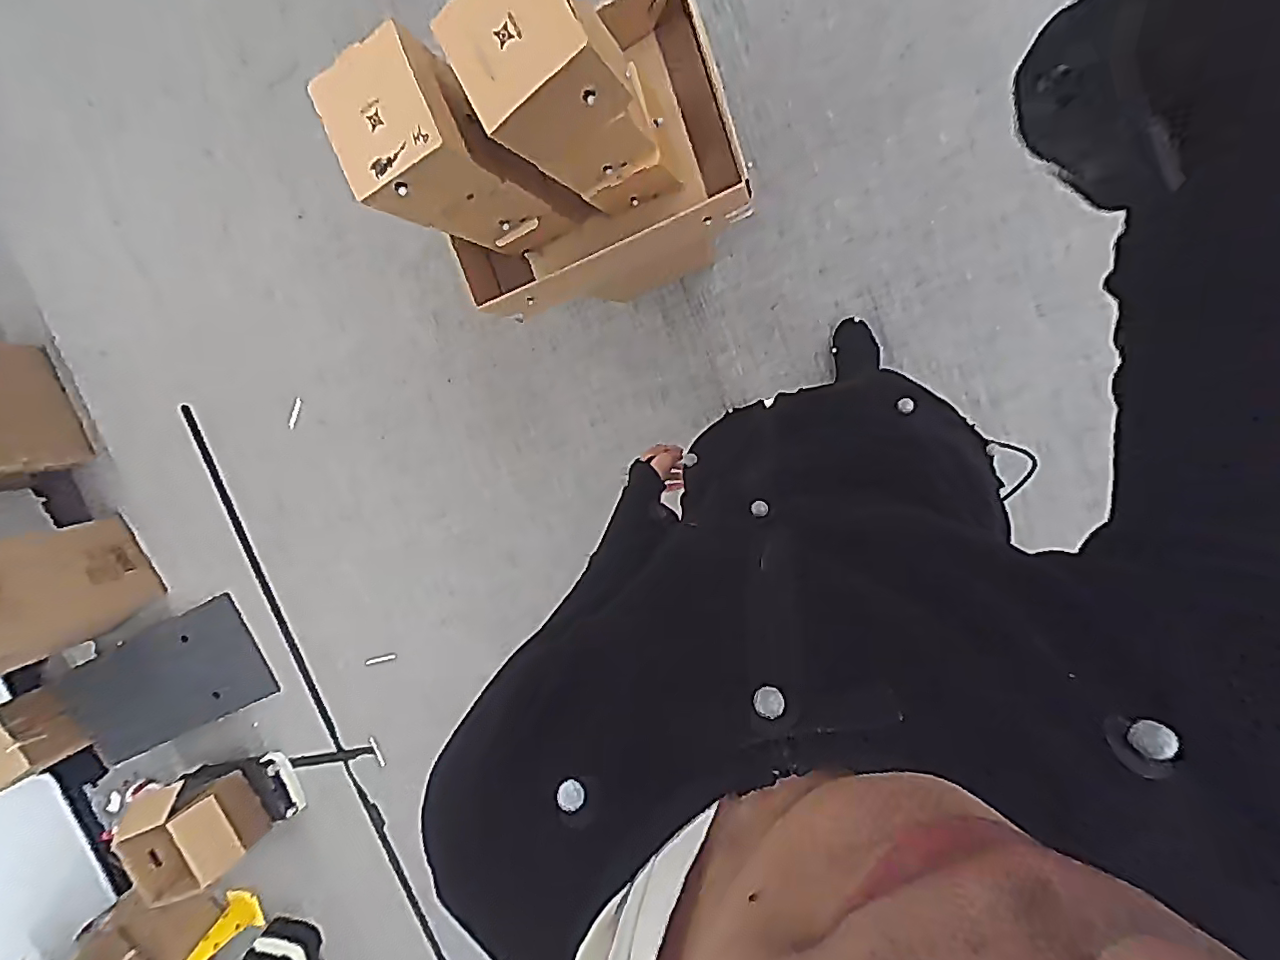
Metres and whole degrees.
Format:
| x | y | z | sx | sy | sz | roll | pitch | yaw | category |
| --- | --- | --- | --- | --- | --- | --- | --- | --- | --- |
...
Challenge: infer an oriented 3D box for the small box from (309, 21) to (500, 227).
| x | y | z | sx | sy | sz | roll | pitch | yaw | category |
| --- | --- | --- | --- | --- | --- | --- | --- | --- | --- |
| -0.347 | -0.520 | 0.823 | 0.168 | 0.176 | 0.179 | -20 | 95 | 20 | small box |

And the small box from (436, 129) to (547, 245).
| x | y | z | sx | sy | sz | roll | pitch | yaw | category |
| --- | --- | --- | --- | --- | --- | --- | --- | --- | --- |
| -0.296 | -0.555 | 0.977 | 0.168 | 0.176 | 0.179 | -20 | 96 | 19 | small box |

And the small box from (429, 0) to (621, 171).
| x | y | z | sx | sy | sz | roll | pitch | yaw | category |
| --- | --- | --- | --- | --- | --- | --- | --- | --- | --- |
| -0.144 | -0.577 | 0.754 | 0.179 | 0.176 | 0.168 | -28 | 92 | 22 | small box |

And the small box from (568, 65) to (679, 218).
| x | y | z | sx | sy | sz | roll | pitch | yaw | category |
| --- | --- | --- | --- | --- | --- | --- | --- | --- | --- |
| -0.037 | -0.646 | 1.057 | 0.168 | 0.176 | 0.179 | -14 | 98 | 22 | small box |
